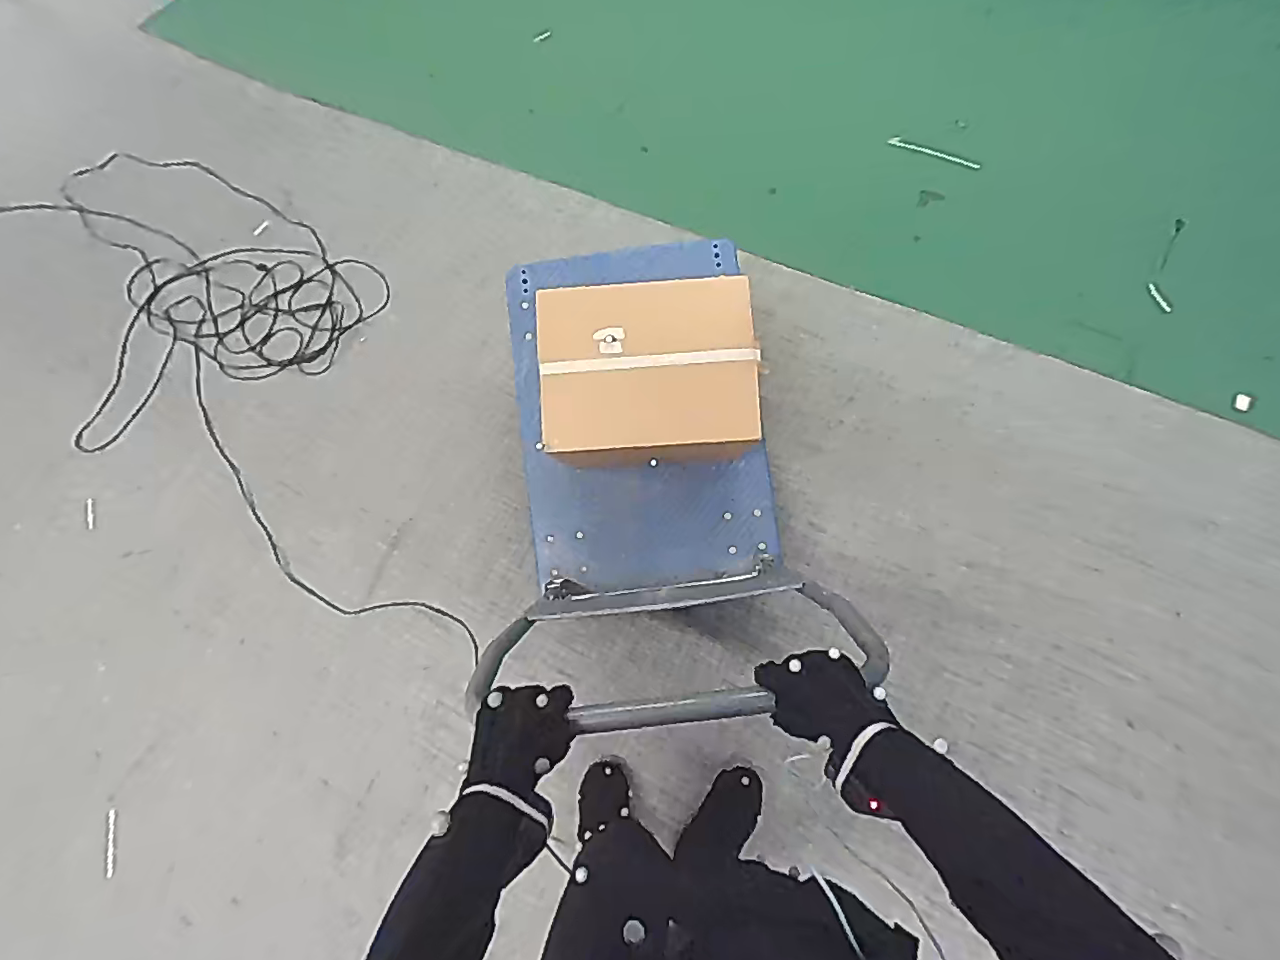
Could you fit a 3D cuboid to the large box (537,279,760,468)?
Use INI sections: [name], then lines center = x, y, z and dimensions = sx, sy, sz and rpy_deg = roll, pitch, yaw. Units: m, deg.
[large box]
center = 0.021, -0.200, 1.152
dimensions = 0.408, 0.320, 0.320
rpy_deg = -4, 85, 3
